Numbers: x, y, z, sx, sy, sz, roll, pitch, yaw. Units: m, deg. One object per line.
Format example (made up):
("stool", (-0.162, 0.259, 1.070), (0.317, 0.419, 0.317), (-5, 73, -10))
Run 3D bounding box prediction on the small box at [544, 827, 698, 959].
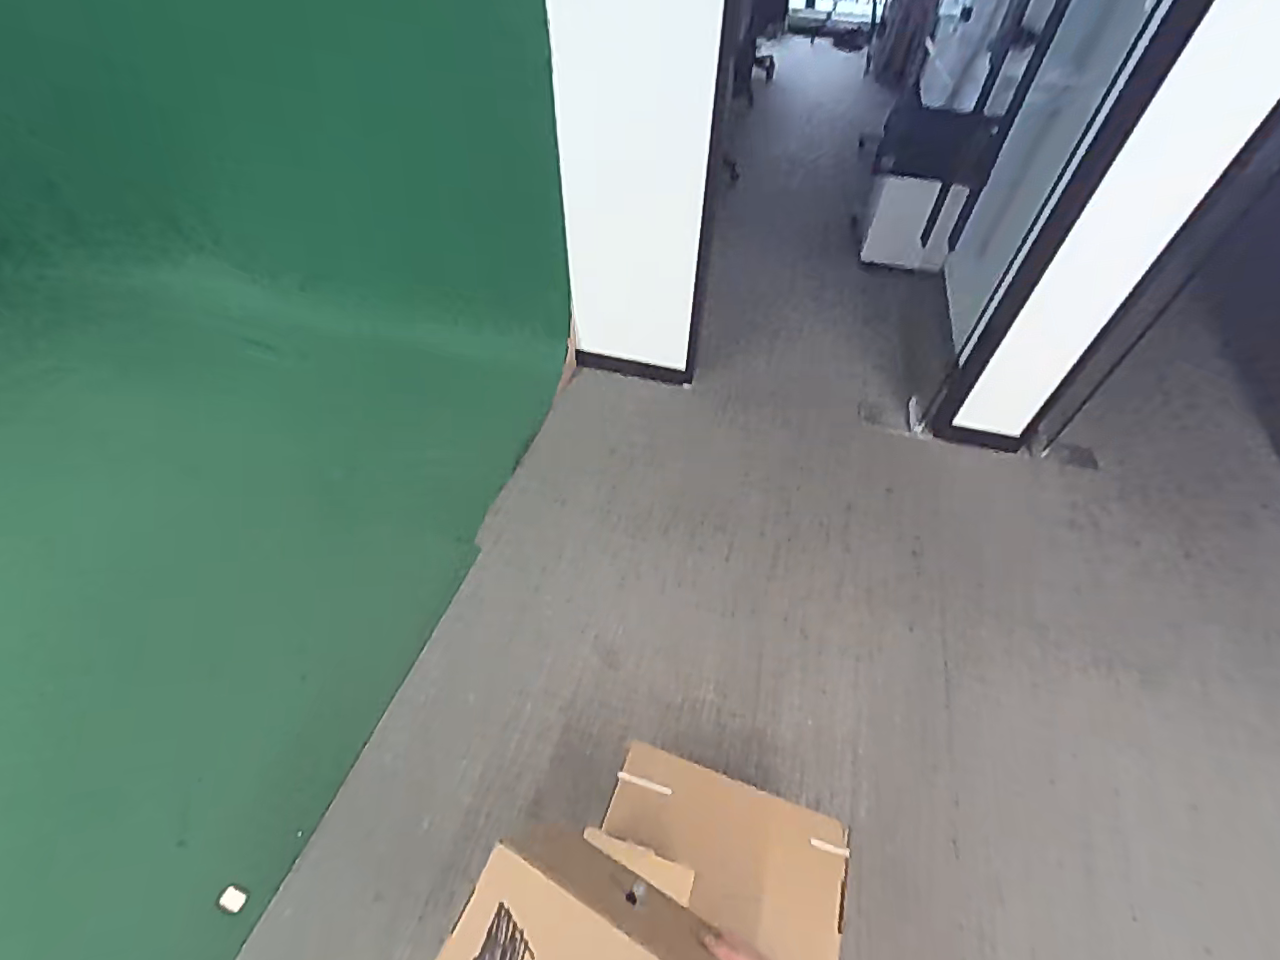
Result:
("small box", (-0.025, 0.636, 0.769), (0.168, 0.176, 0.179), (15, 48, 12))
